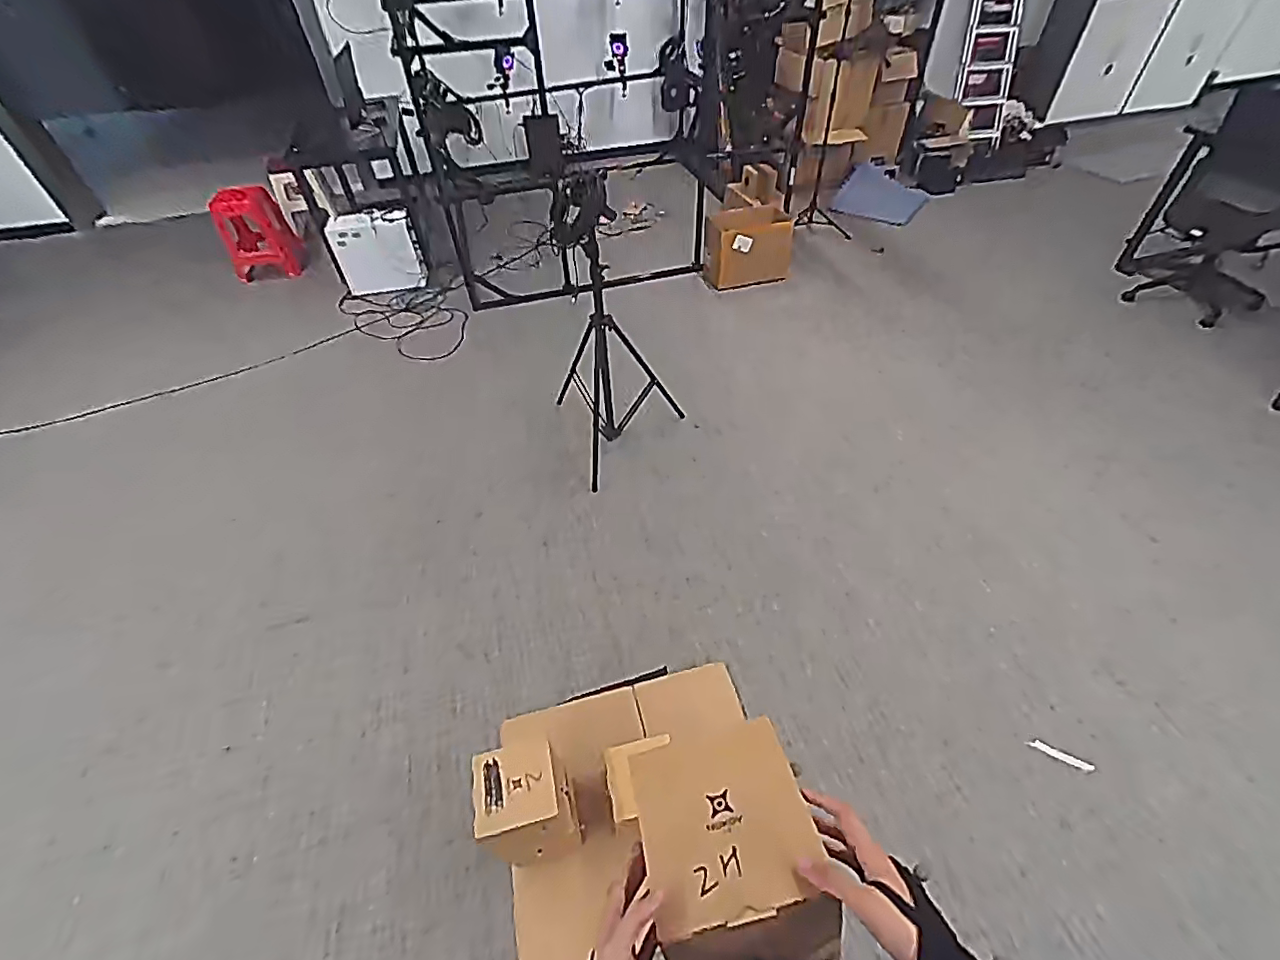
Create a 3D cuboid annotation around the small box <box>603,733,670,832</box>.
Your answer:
[{"bbox_3d":[0.008,0.775,1.385,0.179,0.176,0.168,-11,48,-8],"label":"small box"}]

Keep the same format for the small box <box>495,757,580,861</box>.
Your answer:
[{"bbox_3d":[-0.251,0.823,1.350,0.179,0.176,0.168,-13,48,-8],"label":"small box"}]

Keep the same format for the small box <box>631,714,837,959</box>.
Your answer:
[{"bbox_3d":[0.094,0.393,0.581,0.168,0.176,0.179,-15,33,-2],"label":"small box"}]
